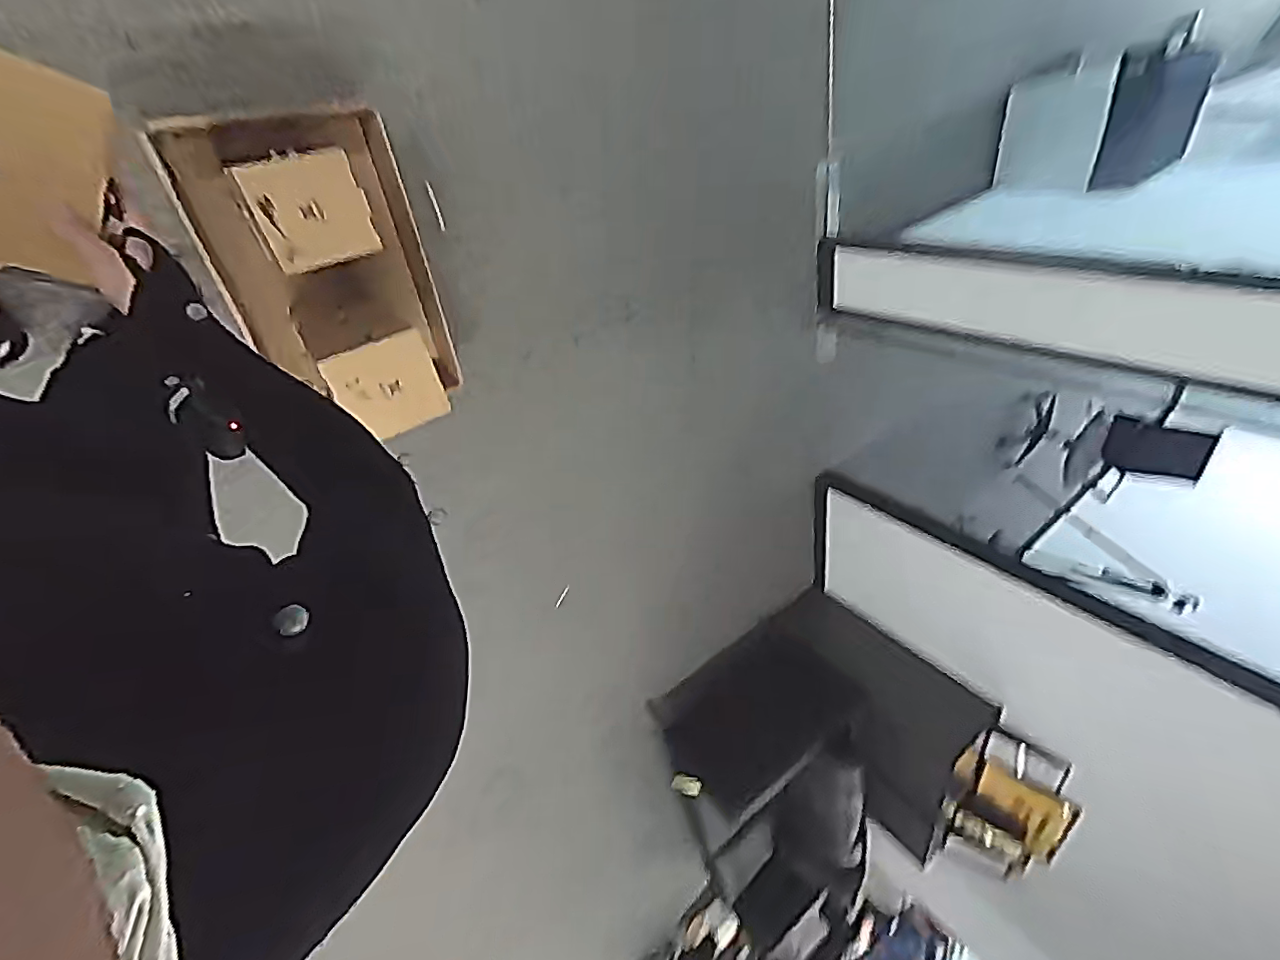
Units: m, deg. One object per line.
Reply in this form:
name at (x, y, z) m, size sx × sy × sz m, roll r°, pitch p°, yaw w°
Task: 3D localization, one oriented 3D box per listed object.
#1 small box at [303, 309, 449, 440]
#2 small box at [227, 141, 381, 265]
small box at (-0.488, -0.203, 1.000) m, size 0.179 × 0.176 × 0.168 m, roll -28°, pitch 128°, yaw -24°
small box at (-0.604, -0.500, 0.971) m, size 0.179 × 0.176 × 0.168 m, roll -28°, pitch 128°, yaw -26°
